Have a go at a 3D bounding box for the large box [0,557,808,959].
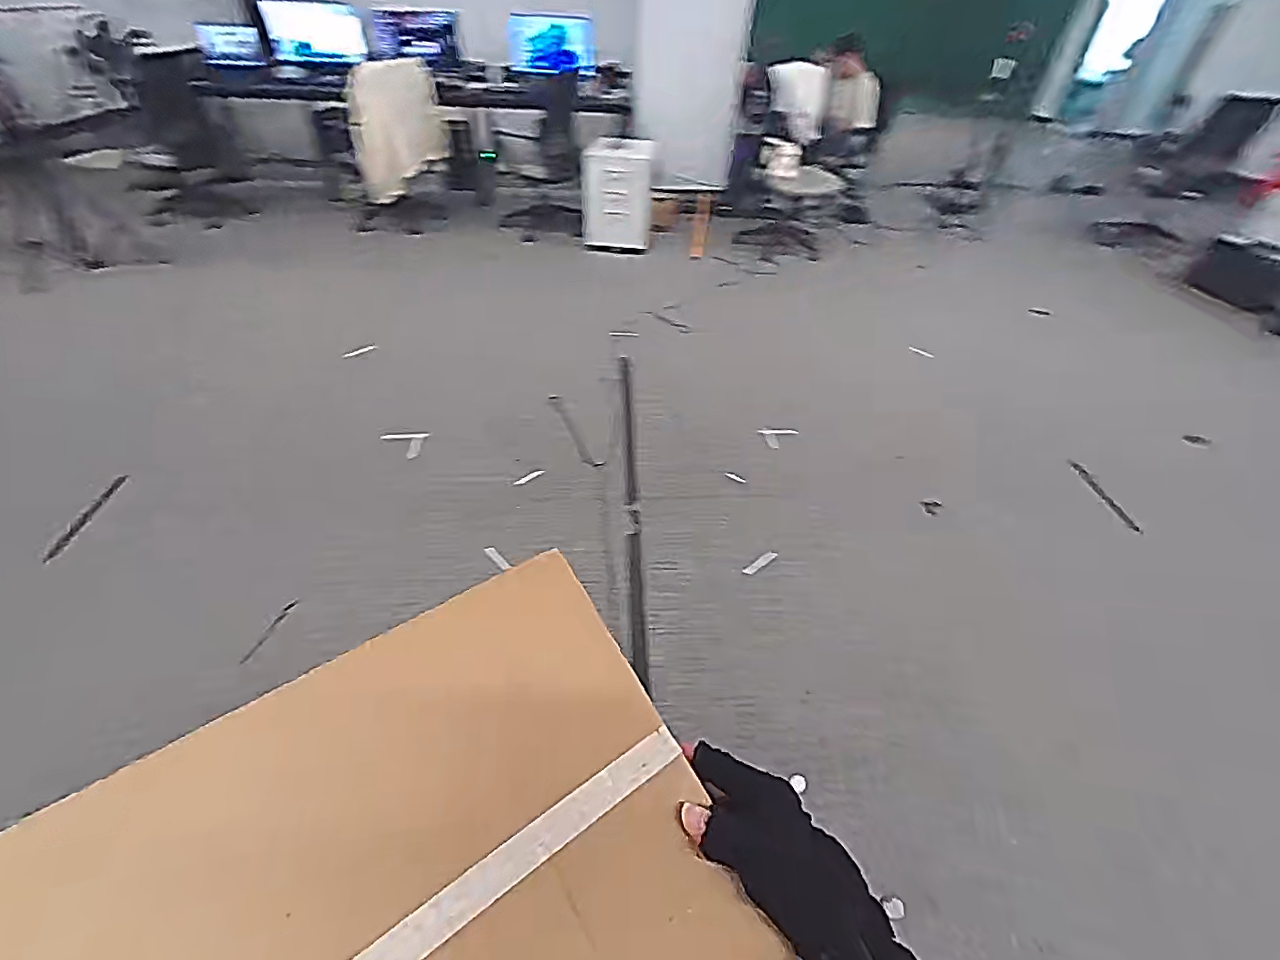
[{"bbox_3d":[-0.168,0.324,0.417,0.408,0.320,0.320,-25,74,-25],"label":"large box"}]
